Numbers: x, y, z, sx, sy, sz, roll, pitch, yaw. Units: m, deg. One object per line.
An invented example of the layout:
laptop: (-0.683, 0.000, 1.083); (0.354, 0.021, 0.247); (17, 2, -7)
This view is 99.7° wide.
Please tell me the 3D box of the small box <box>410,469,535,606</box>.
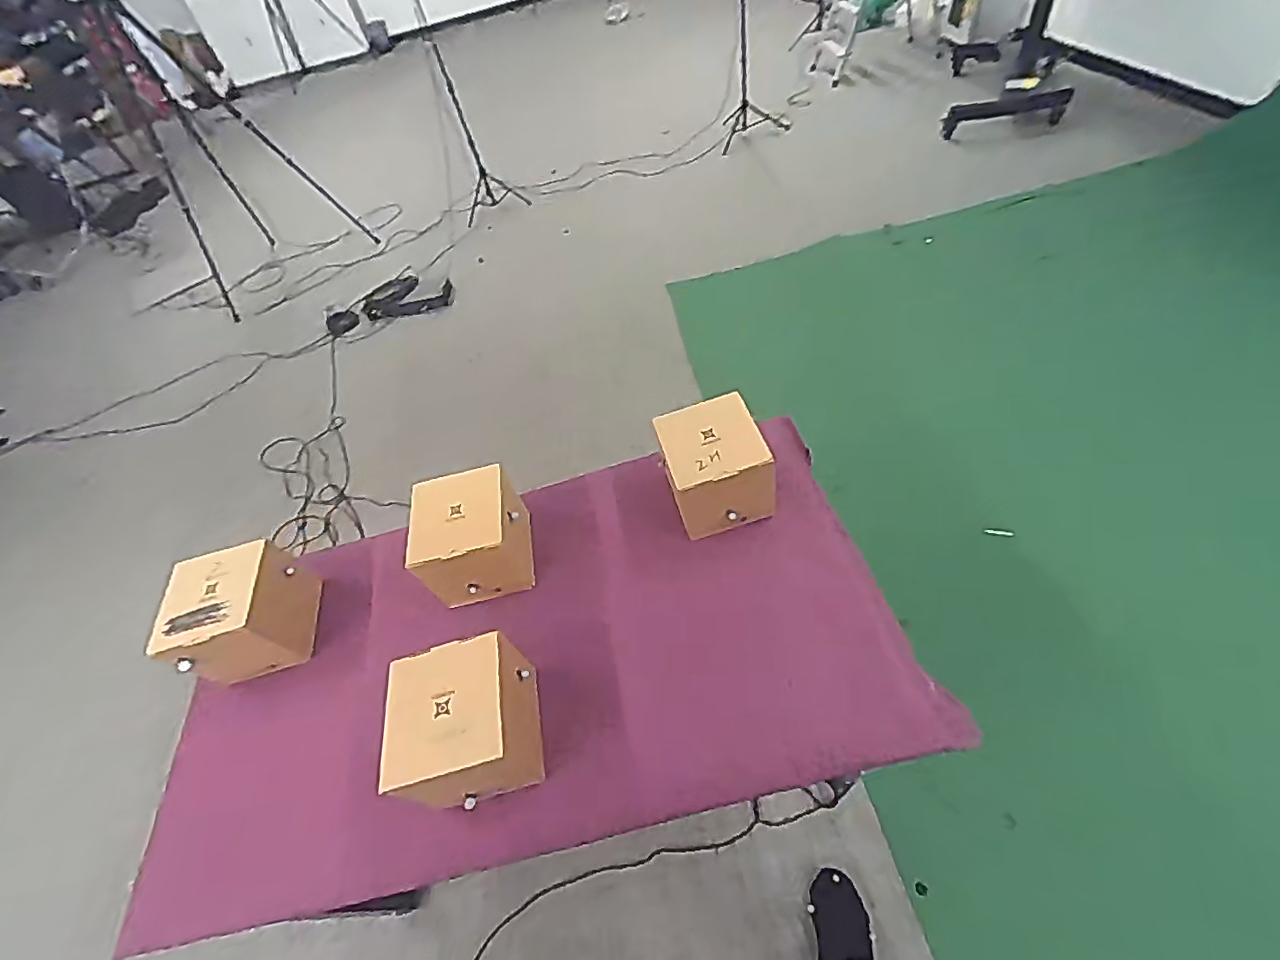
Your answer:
small box: (-0.303, 0.110, 1.007); (0.168, 0.176, 0.179); (-14, 54, 2)

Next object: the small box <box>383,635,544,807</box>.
small box: (-0.251, 0.361, 0.805); (0.168, 0.176, 0.179); (-17, 51, 2)

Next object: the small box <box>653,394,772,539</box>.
small box: (0.134, -0.020, 0.993); (0.168, 0.176, 0.179); (-19, 52, 3)
